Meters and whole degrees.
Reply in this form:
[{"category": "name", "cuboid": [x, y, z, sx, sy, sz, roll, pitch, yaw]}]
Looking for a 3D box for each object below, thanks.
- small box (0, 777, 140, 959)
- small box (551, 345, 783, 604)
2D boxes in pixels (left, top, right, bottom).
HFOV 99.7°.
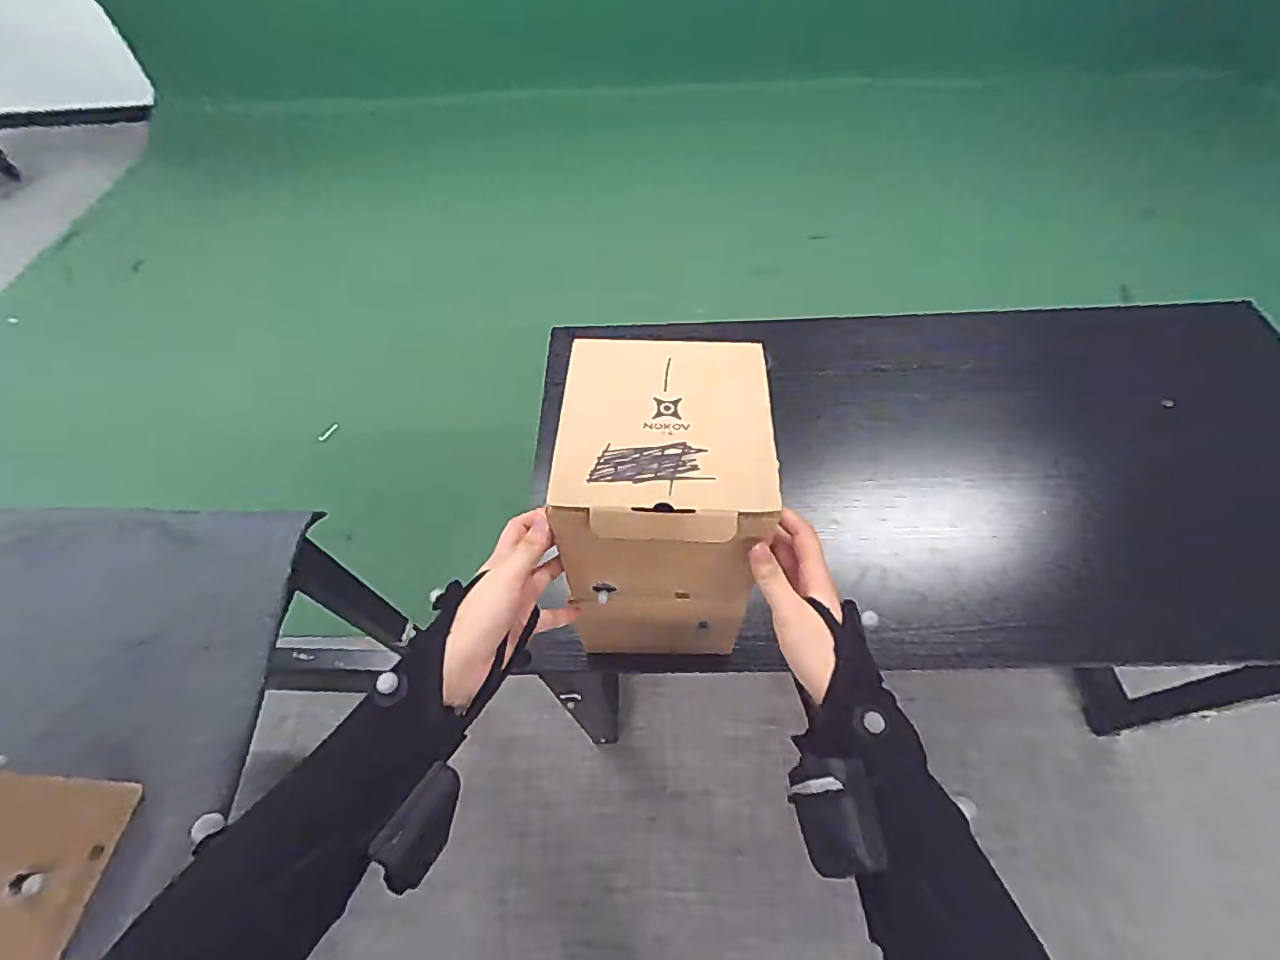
[{"category": "small box", "cuboid": [-0.626, 0.362, 0.484, 0.179, 0.176, 0.168, 1, 57, 5]}, {"category": "small box", "cuboid": [0.025, 0.001, 0.485, 0.168, 0.176, 0.179, 2, 56, 2]}]
